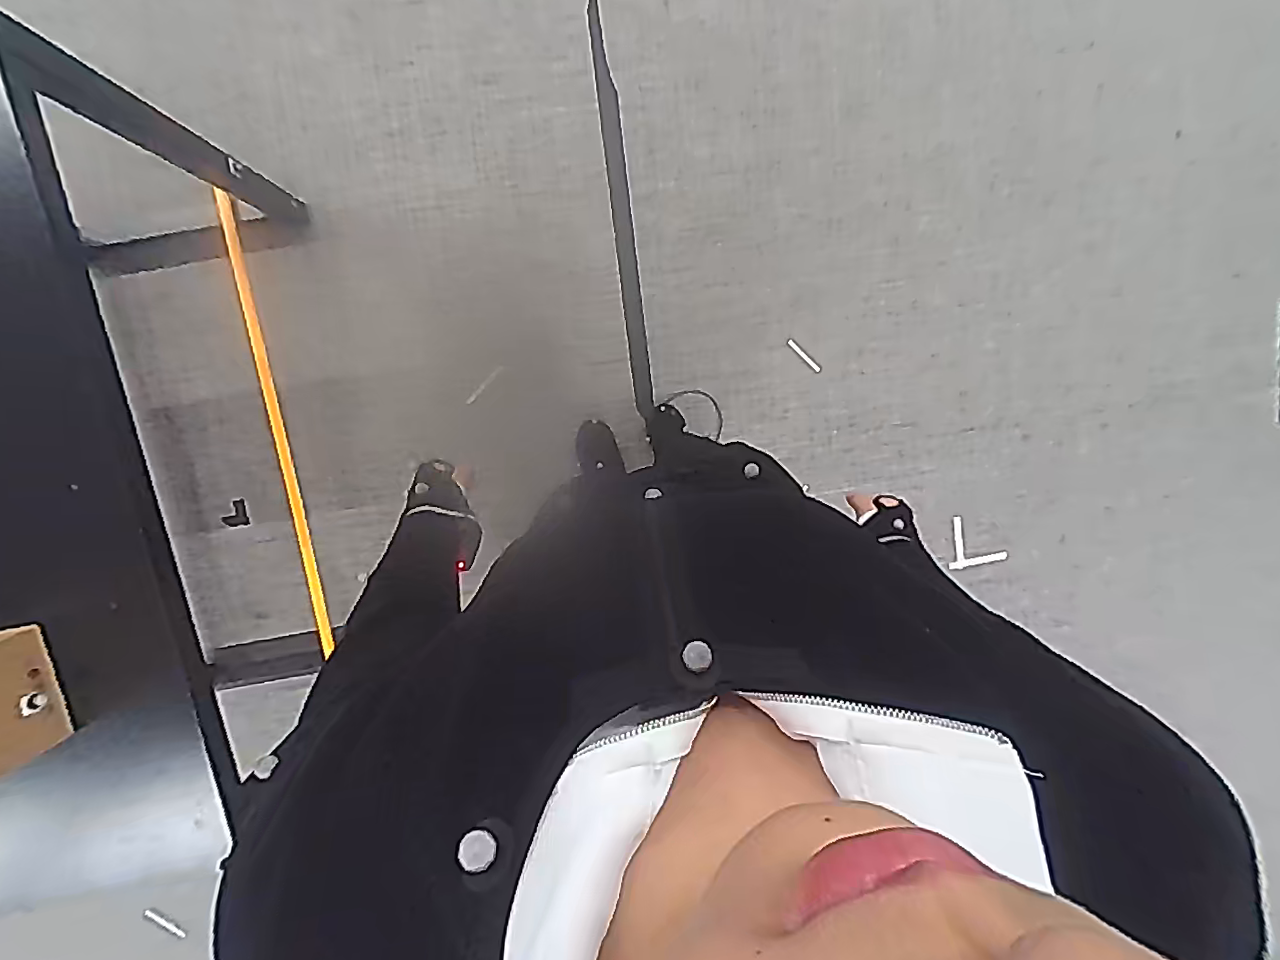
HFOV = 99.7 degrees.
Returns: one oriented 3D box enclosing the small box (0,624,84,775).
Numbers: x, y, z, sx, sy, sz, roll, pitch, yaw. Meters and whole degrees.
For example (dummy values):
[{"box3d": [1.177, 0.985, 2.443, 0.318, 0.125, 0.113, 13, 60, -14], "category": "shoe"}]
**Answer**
[{"box3d": [-0.882, 0.301, 0.677, 0.179, 0.176, 0.168, -11, 100, -2], "category": "small box"}]
